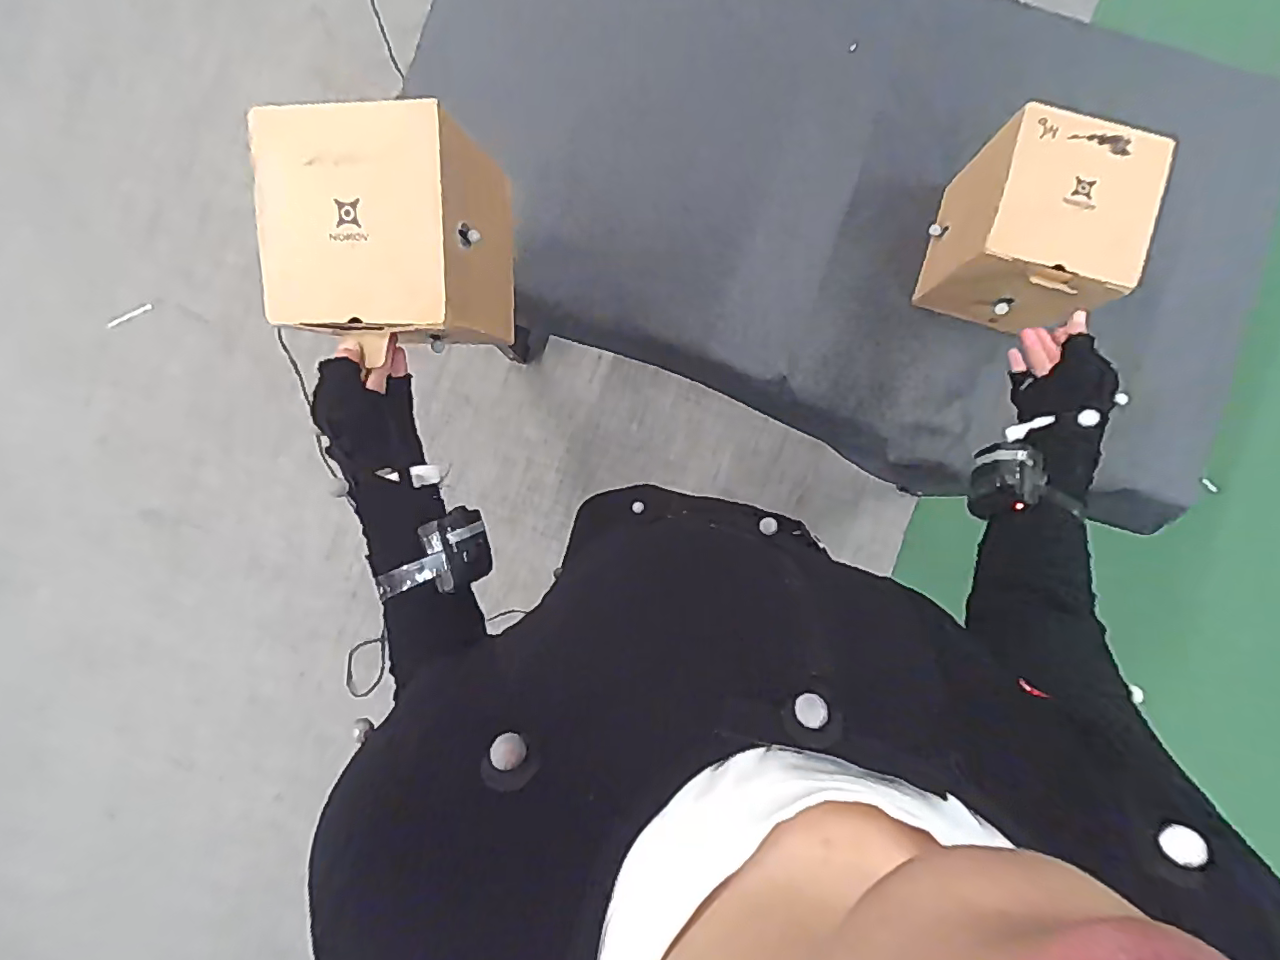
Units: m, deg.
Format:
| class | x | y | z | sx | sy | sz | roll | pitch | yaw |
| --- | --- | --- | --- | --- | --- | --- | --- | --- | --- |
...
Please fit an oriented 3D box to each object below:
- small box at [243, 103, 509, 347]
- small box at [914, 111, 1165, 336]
| class | x | y | z | sx | sy | sz | roll | pitch | yaw |
| --- | --- | --- | --- | --- | --- | --- | --- | --- | --- |
| small box | -0.232 | -0.223 | 0.520 | 0.168 | 0.176 | 0.179 | 1 | 99 | 5 |
| small box | 0.471 | -0.298 | 0.669 | 0.168 | 0.176 | 0.179 | 17 | 89 | 1 |
